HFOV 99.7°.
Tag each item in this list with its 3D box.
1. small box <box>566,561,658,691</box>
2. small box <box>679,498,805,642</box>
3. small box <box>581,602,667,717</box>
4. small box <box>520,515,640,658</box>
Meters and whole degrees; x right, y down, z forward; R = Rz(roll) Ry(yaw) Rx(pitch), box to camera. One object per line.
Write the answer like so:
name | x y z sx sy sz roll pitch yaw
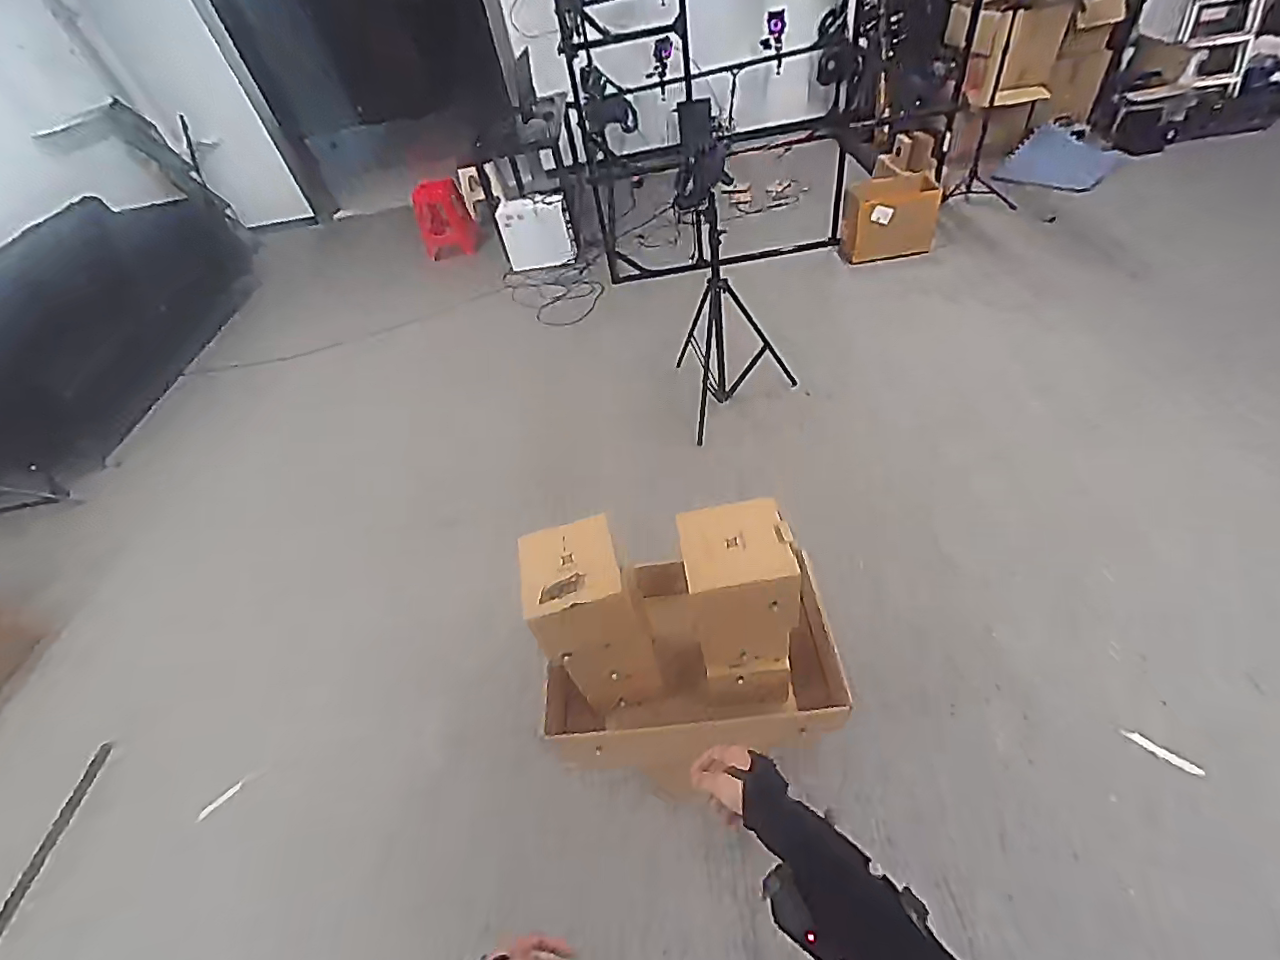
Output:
small box | -0.066 0.295 1.090 0.168 0.176 0.179 -14 46 1
small box | 0.170 0.158 0.934 0.179 0.176 0.168 -11 45 3
small box | -0.042 0.401 1.214 0.168 0.176 0.179 -14 46 0
small box | -0.104 0.197 0.963 0.168 0.176 0.179 -16 45 -2
